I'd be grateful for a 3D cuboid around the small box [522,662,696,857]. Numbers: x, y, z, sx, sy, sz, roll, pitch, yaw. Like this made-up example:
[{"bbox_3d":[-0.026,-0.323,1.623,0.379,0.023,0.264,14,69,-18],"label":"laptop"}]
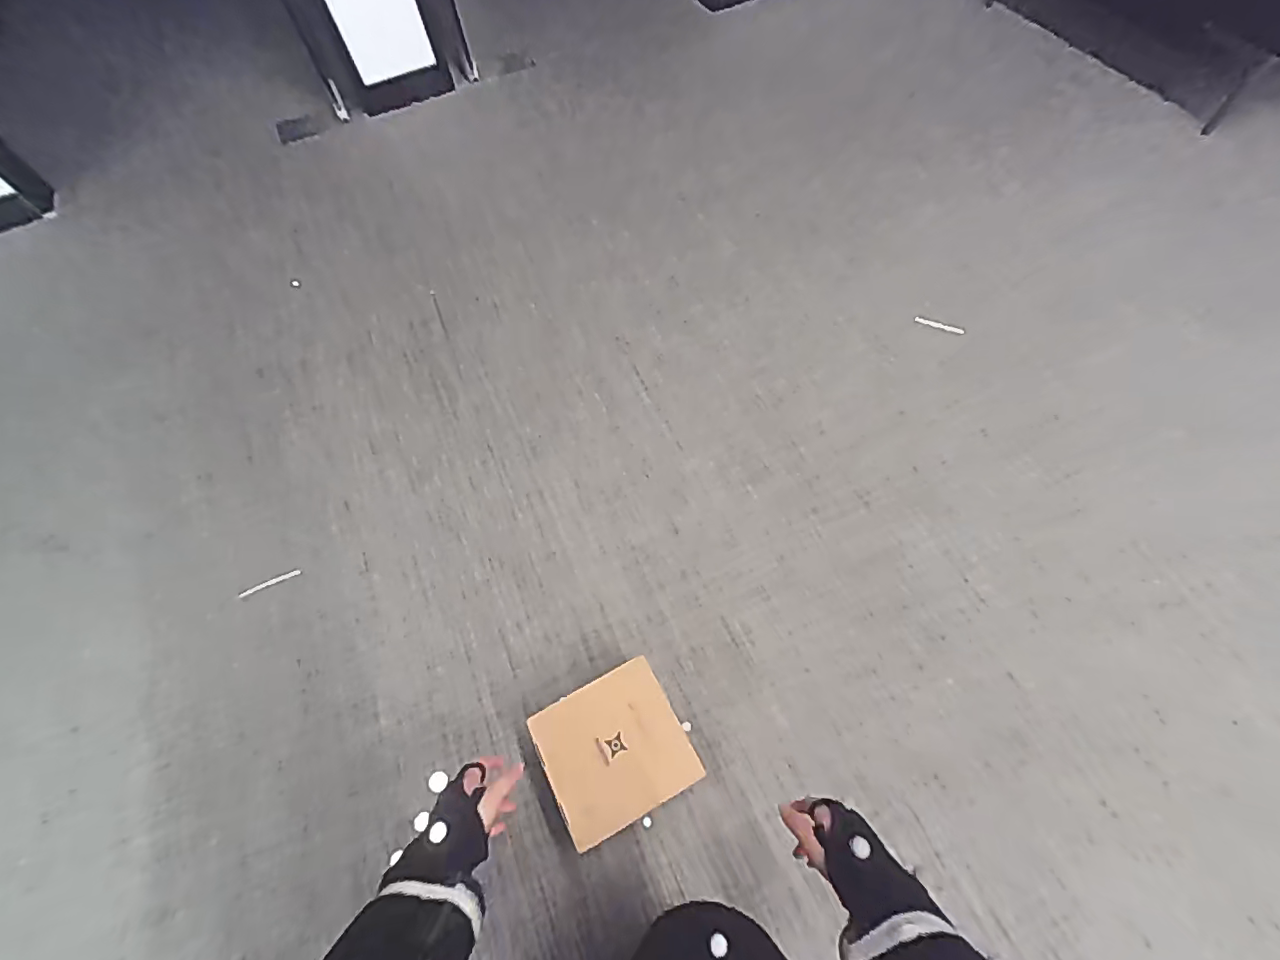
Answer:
[{"bbox_3d":[-0.036,0.381,0.746,0.179,0.176,0.168,-26,63,-10],"label":"small box"}]
